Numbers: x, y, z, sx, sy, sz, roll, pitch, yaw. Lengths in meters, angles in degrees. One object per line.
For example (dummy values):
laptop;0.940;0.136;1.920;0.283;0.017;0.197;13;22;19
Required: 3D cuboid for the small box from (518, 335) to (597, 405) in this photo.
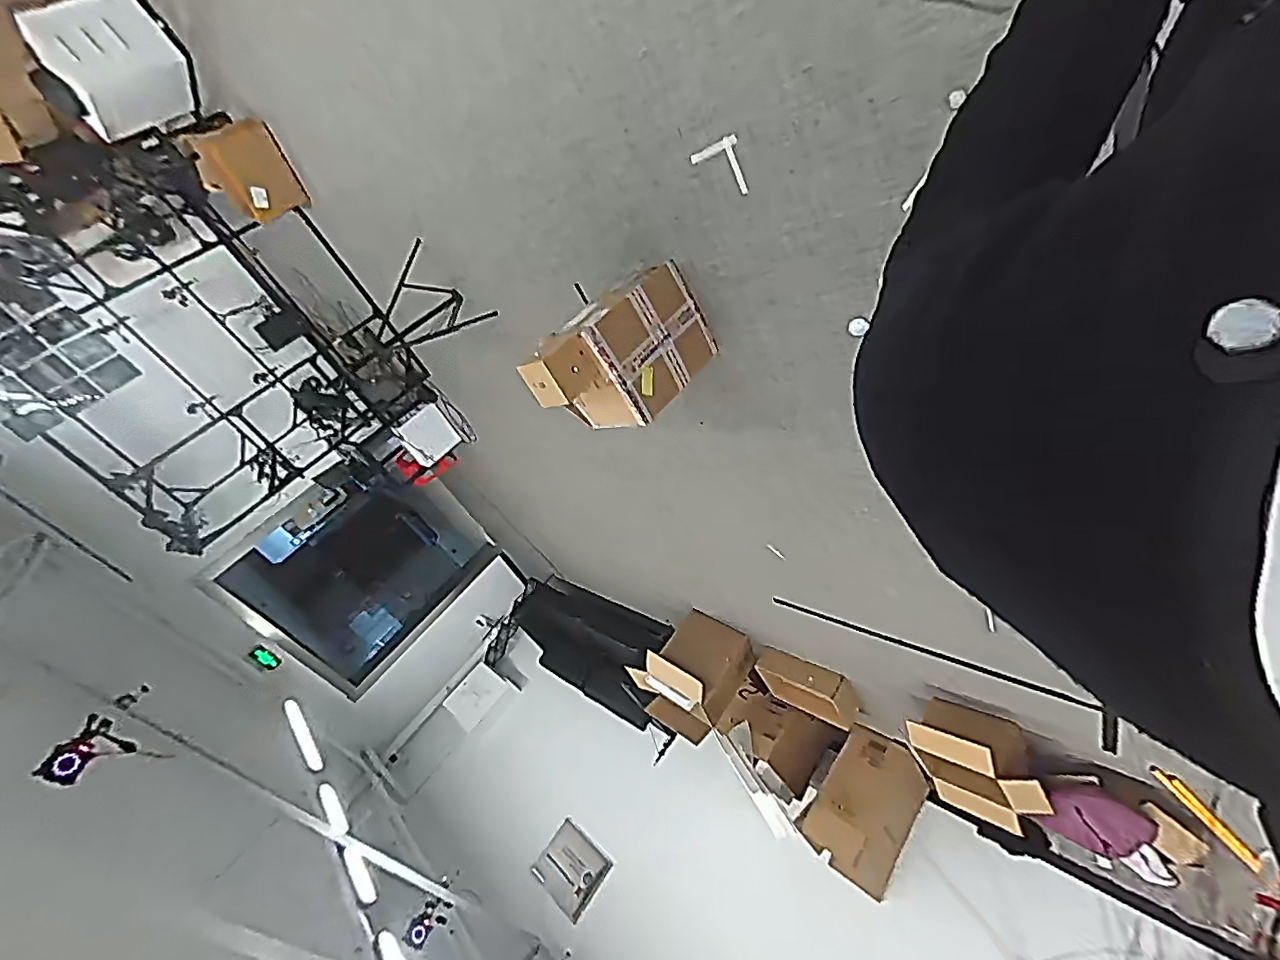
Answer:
small box;-0.270;-0.372;1.828;0.179;0.176;0.168;4;133;49
